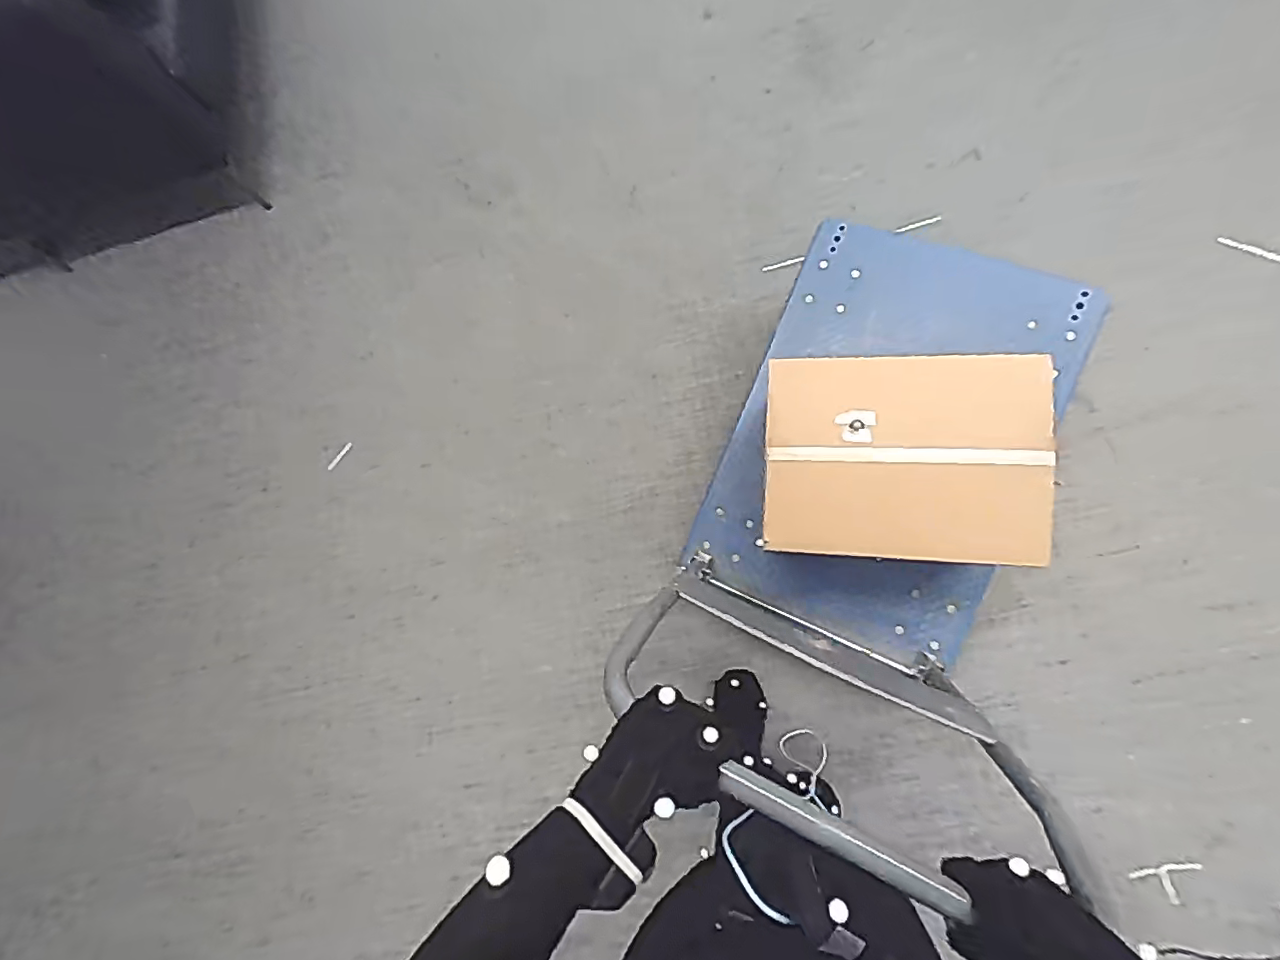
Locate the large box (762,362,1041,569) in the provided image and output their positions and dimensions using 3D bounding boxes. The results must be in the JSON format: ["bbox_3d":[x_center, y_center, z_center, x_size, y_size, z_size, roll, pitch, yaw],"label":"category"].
[{"bbox_3d":[0.435,-0.016,0.986,0.408,0.320,0.320,2,86,15],"label":"large box"}]
